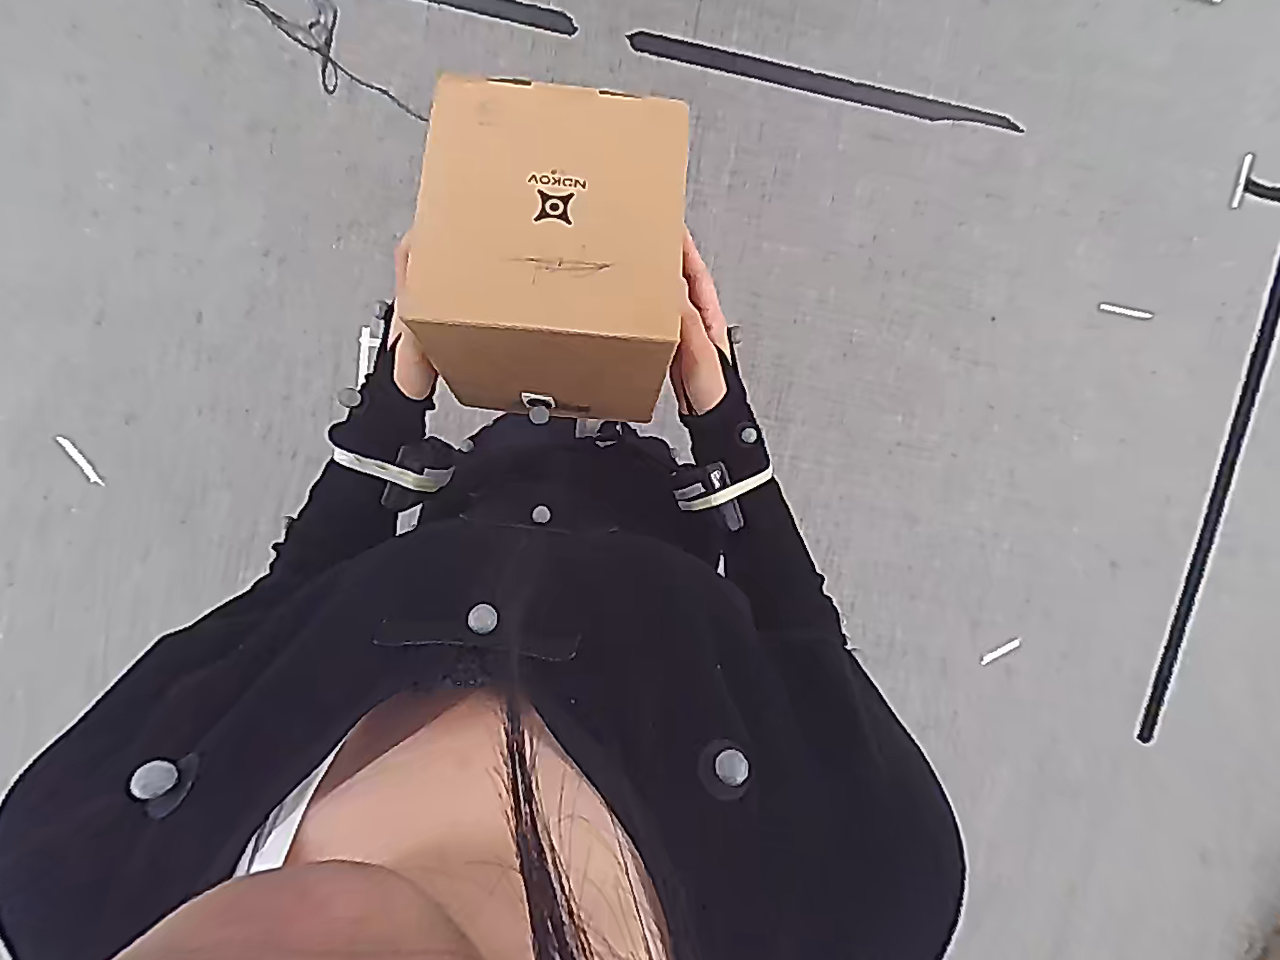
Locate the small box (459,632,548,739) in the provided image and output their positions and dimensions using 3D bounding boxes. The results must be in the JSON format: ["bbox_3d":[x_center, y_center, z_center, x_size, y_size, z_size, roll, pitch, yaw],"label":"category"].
[{"bbox_3d":[-0.317,0.480,1.286,0.168,0.176,0.179,9,97,-4],"label":"small box"}]

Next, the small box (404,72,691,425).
[{"bbox_3d":[-0.059,-0.155,0.412,0.168,0.176,0.179,4,79,-4],"label":"small box"}]
